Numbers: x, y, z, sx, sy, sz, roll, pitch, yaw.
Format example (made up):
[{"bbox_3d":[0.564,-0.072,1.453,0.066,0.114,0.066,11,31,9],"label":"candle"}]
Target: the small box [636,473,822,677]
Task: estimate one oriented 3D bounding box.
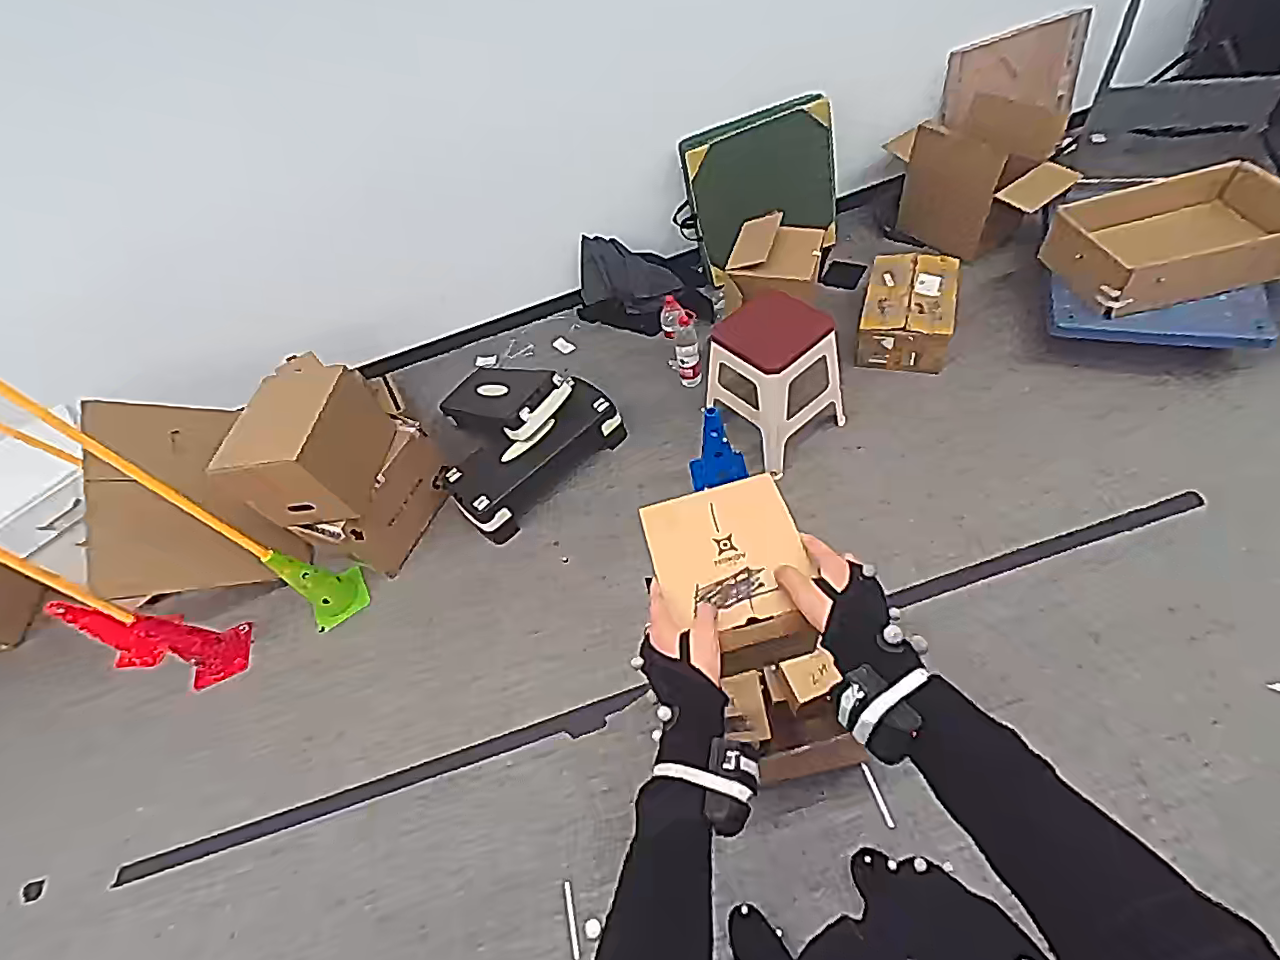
[{"bbox_3d":[0.104,0.125,0.661,0.168,0.176,0.179,-16,54,0],"label":"small box"}]
